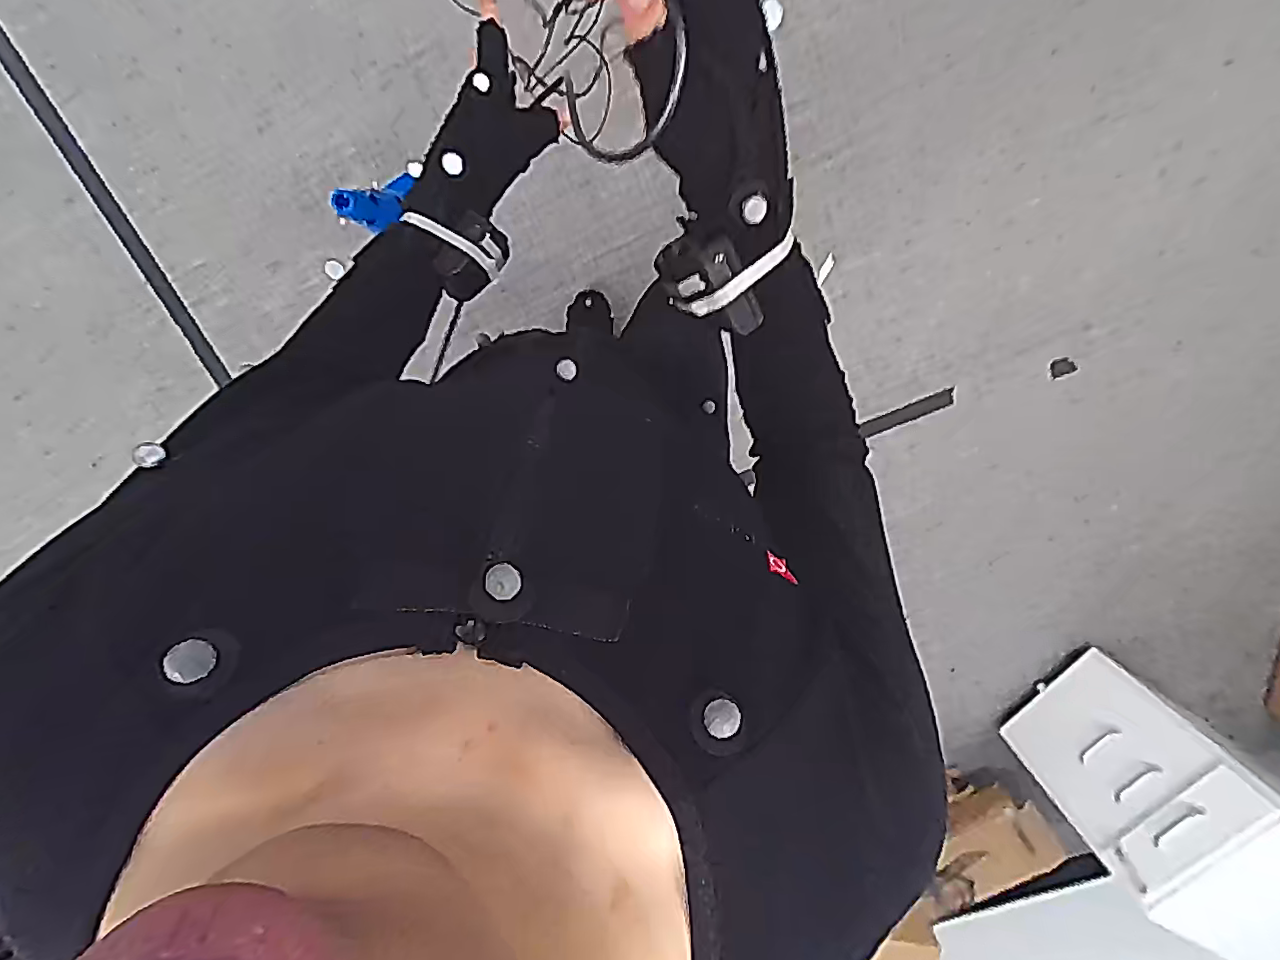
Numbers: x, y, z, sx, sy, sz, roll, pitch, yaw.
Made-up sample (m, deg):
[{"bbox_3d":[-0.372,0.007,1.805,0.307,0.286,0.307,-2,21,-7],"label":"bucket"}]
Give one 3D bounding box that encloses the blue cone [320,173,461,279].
[{"bbox_3d":[-0.538,-0.543,1.125,0.192,0.380,0.193,-27,108,9],"label":"blue cone"}]
